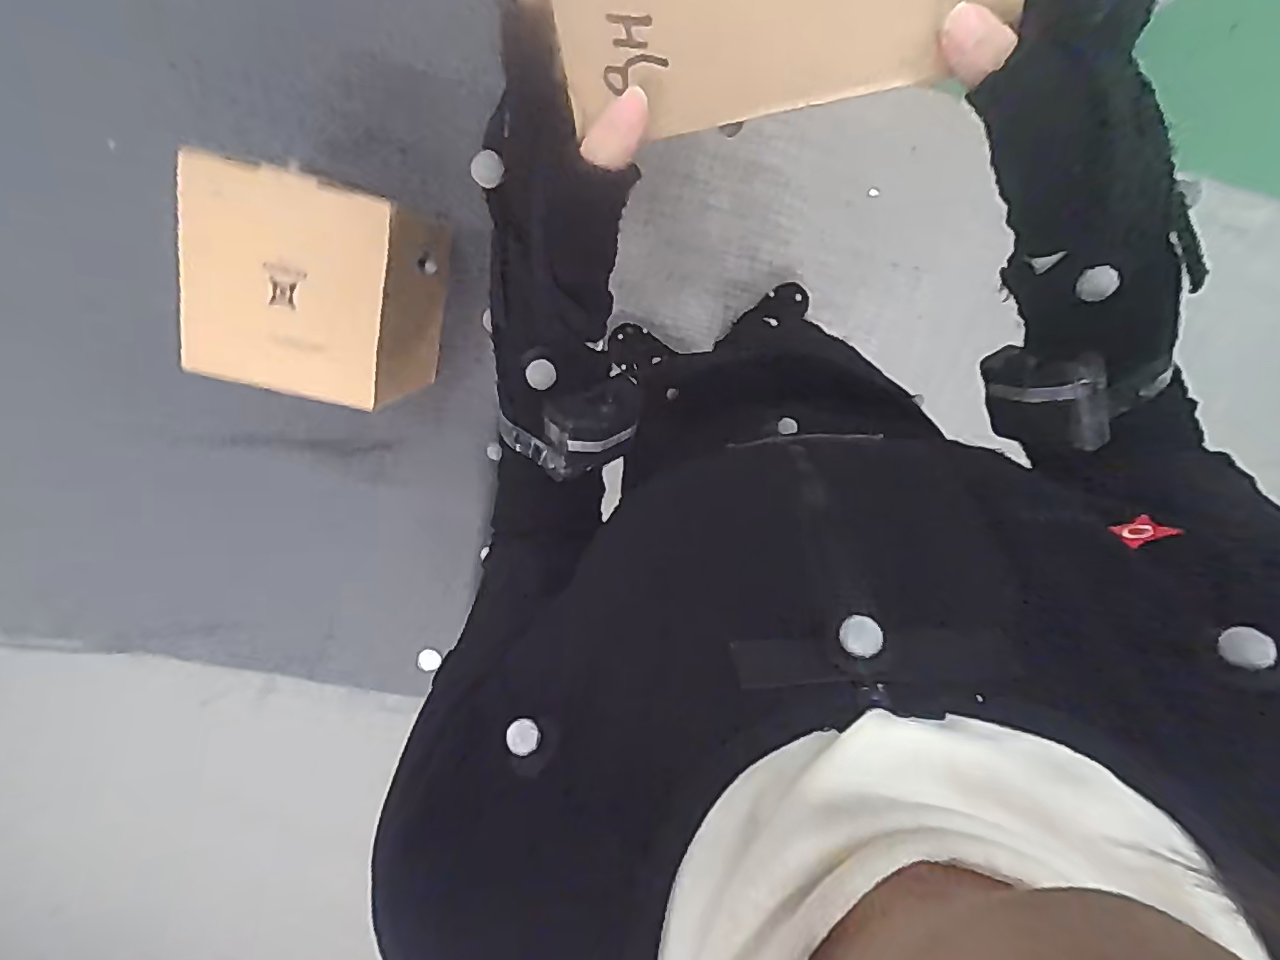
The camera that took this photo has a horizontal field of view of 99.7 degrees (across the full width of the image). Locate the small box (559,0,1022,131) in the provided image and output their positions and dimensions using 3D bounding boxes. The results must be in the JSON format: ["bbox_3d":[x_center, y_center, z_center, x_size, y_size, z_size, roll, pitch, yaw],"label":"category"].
[{"bbox_3d":[0.045,-0.265,0.232,0.179,0.176,0.168,-9,126,1],"label":"small box"}]

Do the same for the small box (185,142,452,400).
[{"bbox_3d":[-0.297,-0.196,0.532,0.168,0.176,0.179,12,110,-4],"label":"small box"}]
